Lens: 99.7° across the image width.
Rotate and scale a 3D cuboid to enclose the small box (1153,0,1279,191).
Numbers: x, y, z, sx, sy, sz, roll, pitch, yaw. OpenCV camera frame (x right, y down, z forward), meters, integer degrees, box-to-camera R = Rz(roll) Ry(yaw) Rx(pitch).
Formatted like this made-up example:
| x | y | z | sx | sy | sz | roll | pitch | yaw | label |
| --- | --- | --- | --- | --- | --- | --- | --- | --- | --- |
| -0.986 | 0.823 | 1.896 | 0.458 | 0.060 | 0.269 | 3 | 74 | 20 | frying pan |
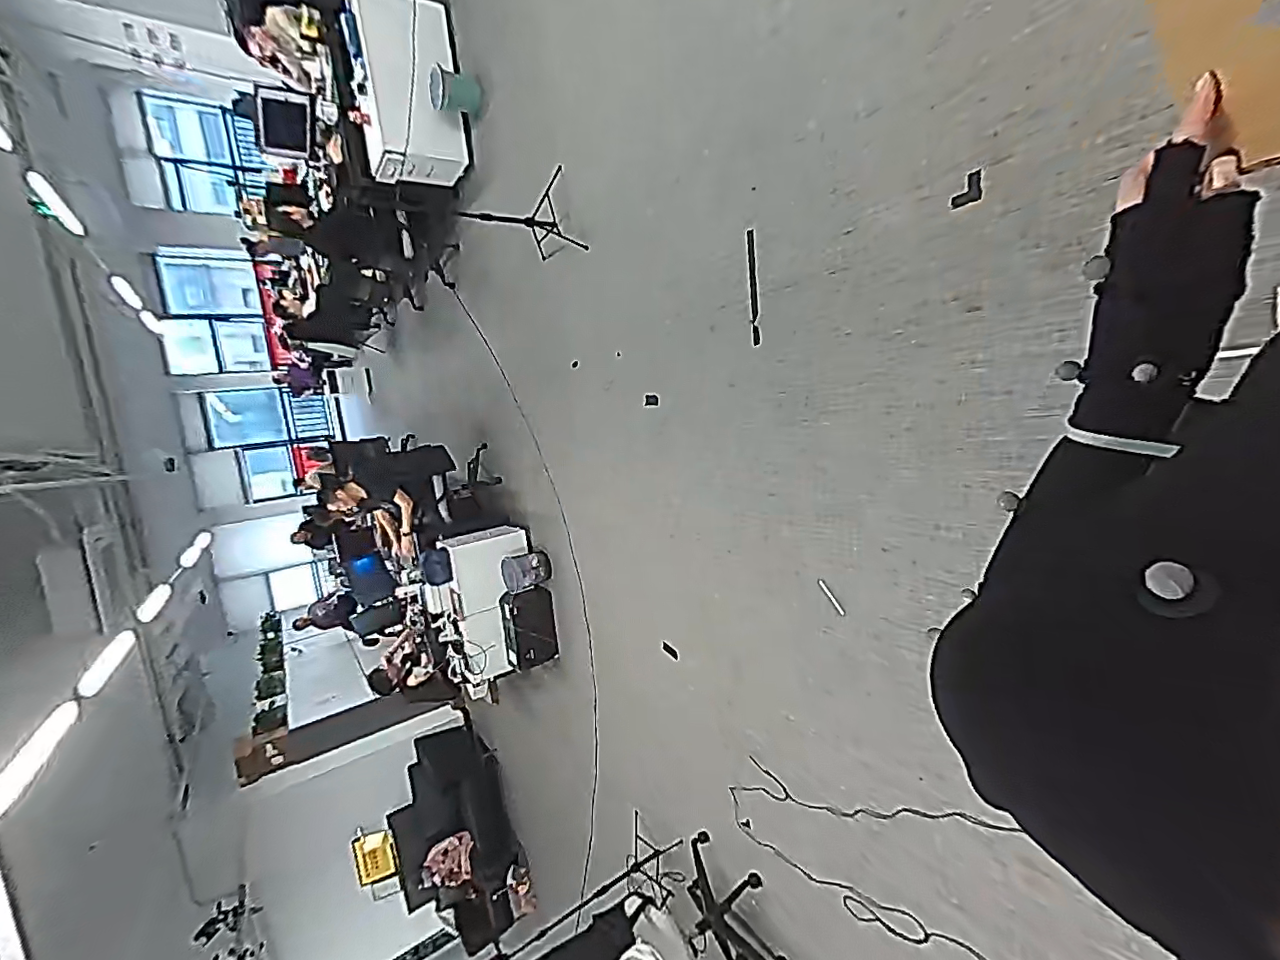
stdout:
| x | y | z | sx | sy | sz | roll | pitch | yaw | label |
| --- | --- | --- | --- | --- | --- | --- | --- | --- | --- |
| 0.360 | -0.259 | 0.224 | 0.168 | 0.179 | 0.176 | -19 | 101 | 22 | small box |
